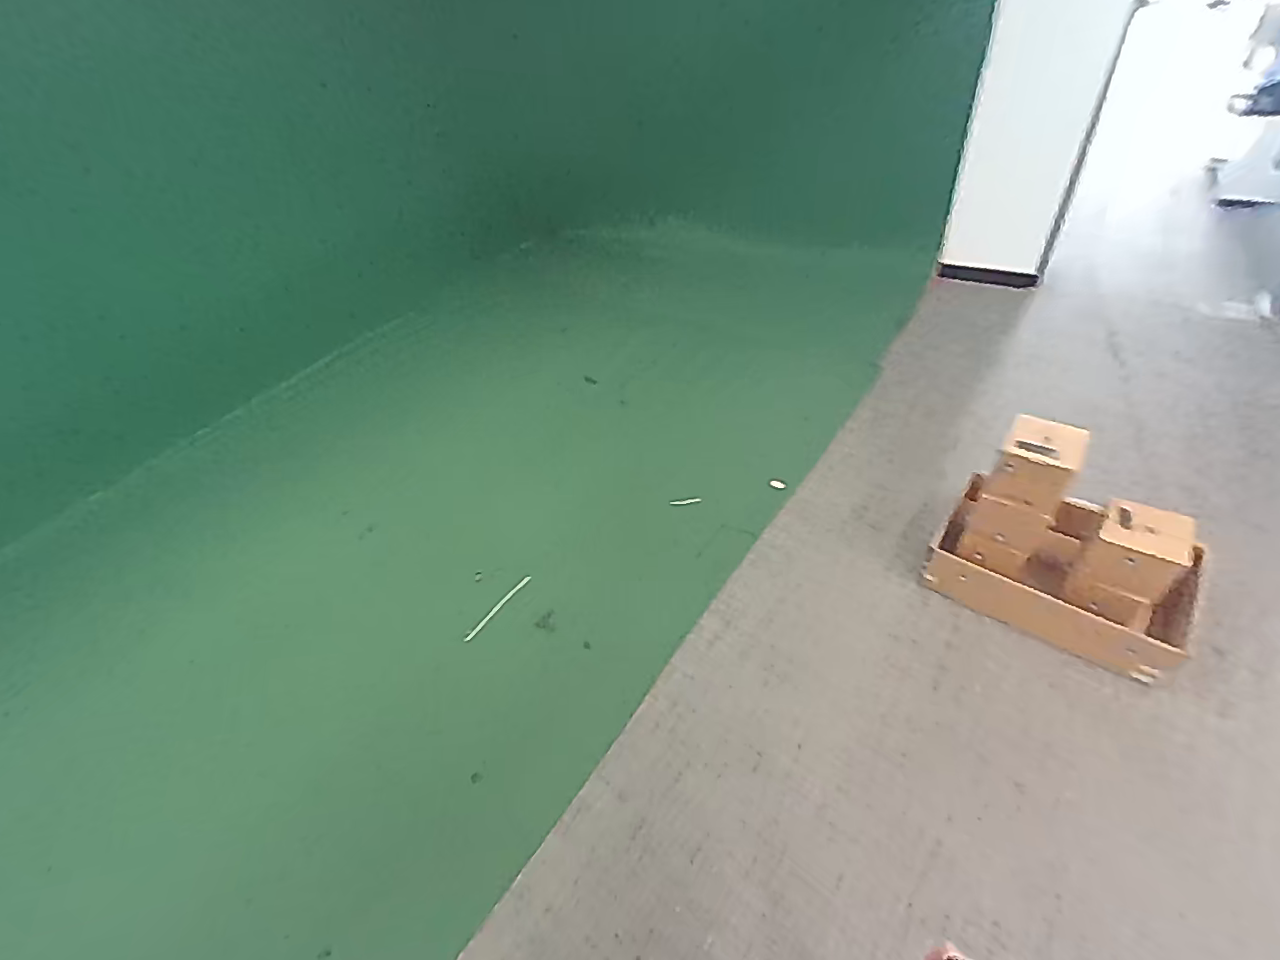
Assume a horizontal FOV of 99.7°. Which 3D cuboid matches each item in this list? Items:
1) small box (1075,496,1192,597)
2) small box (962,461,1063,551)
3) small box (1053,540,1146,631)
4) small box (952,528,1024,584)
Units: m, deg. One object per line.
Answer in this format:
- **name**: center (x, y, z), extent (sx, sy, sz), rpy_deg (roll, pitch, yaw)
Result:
- **small box**: center (1.286, 0.178, 1.420), extent (0.179, 0.176, 0.168), rpy_deg (23, 56, 31)
- **small box**: center (1.074, 0.079, 1.567), extent (0.179, 0.176, 0.168), rpy_deg (25, 55, 31)
- **small box**: center (1.314, 0.293, 1.536), extent (0.168, 0.176, 0.179), rpy_deg (27, 57, 33)
- **small box**: center (1.099, 0.190, 1.685), extent (0.168, 0.176, 0.179), rpy_deg (26, 55, 32)
